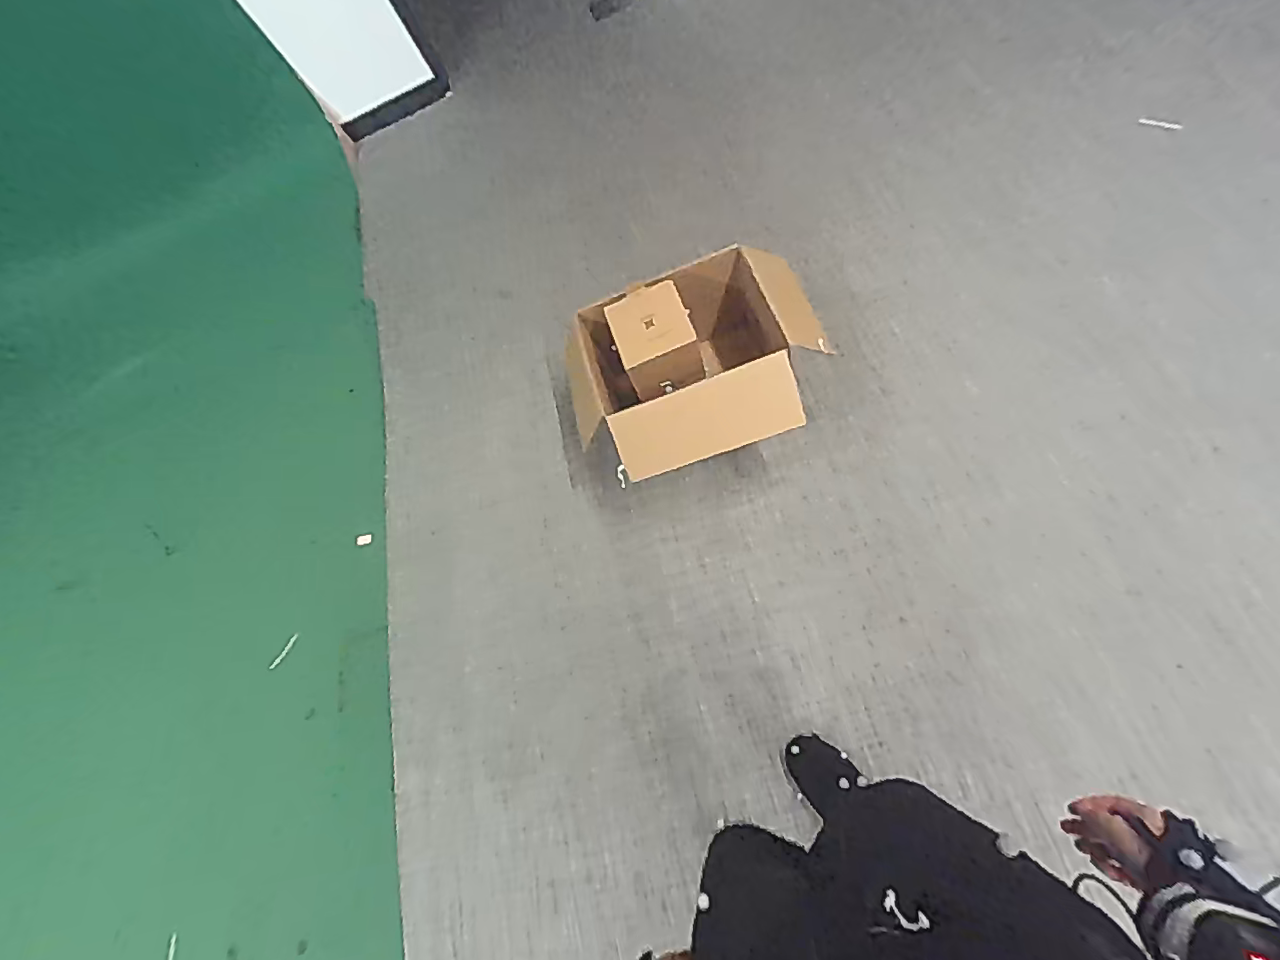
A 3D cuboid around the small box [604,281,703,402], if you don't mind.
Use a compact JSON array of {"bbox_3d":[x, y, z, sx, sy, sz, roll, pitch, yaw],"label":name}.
[{"bbox_3d":[0.034,-0.308,1.229,0.168,0.176,0.179,-21,68,6],"label":"small box"}]
